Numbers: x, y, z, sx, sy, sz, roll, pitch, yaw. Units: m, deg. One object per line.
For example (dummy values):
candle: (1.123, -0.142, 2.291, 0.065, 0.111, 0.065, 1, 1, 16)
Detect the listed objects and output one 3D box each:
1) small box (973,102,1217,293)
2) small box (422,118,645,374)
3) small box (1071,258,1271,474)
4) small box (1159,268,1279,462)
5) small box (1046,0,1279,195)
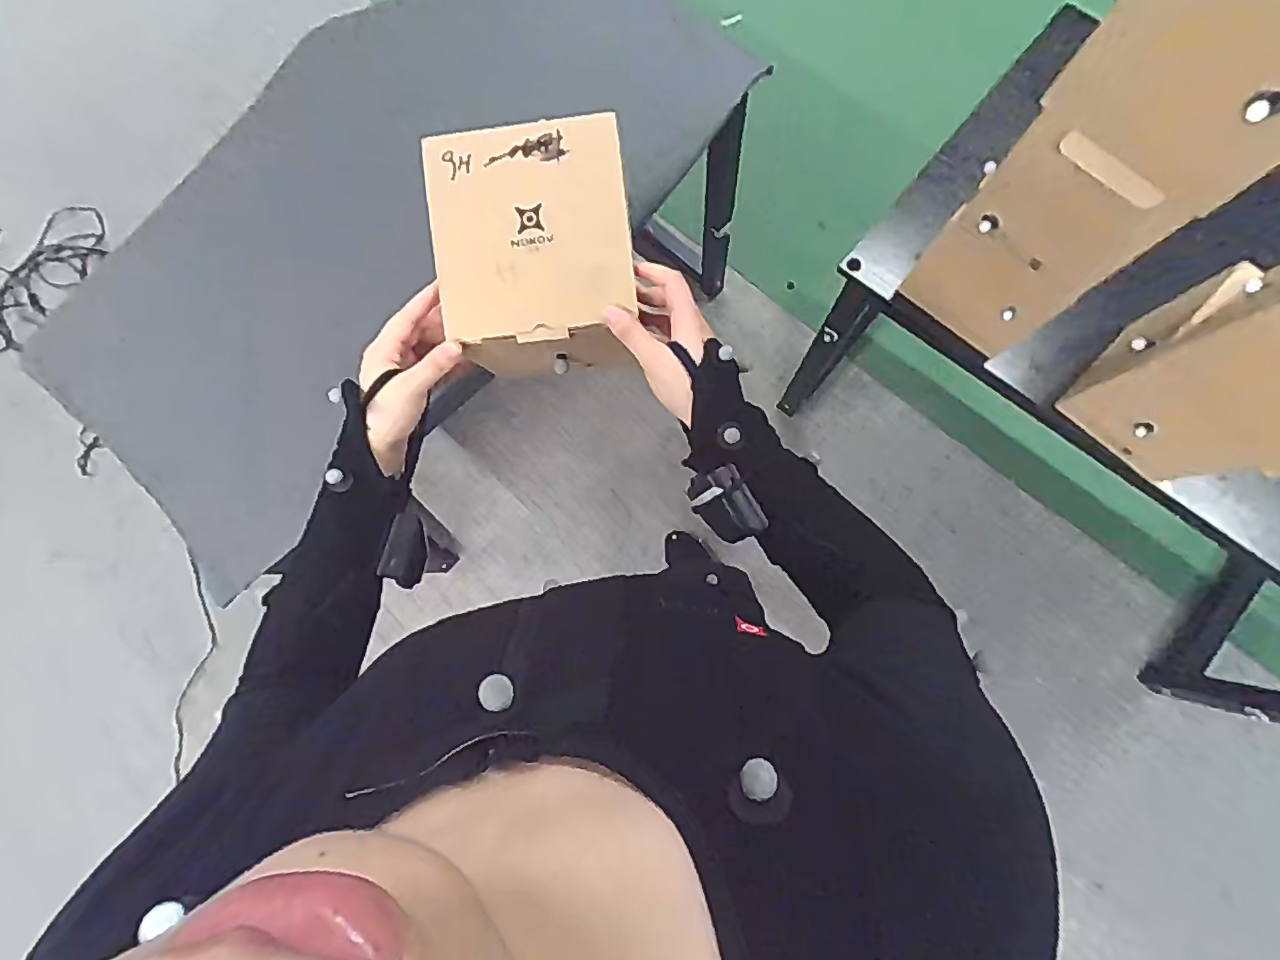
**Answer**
small box: (0.495, -0.336, 0.568, 0.168, 0.176, 0.179, 44, 86, 9)
small box: (-0.086, -0.203, 0.524, 0.168, 0.176, 0.179, -7, 92, 2)
small box: (0.703, -0.128, 0.682, 0.168, 0.176, 0.179, 44, 86, 10)
small box: (0.686, -0.131, 0.519, 0.168, 0.176, 0.179, -38, 79, -2)
small box: (0.476, -0.356, 0.407, 0.179, 0.176, 0.168, 44, 85, 10)
